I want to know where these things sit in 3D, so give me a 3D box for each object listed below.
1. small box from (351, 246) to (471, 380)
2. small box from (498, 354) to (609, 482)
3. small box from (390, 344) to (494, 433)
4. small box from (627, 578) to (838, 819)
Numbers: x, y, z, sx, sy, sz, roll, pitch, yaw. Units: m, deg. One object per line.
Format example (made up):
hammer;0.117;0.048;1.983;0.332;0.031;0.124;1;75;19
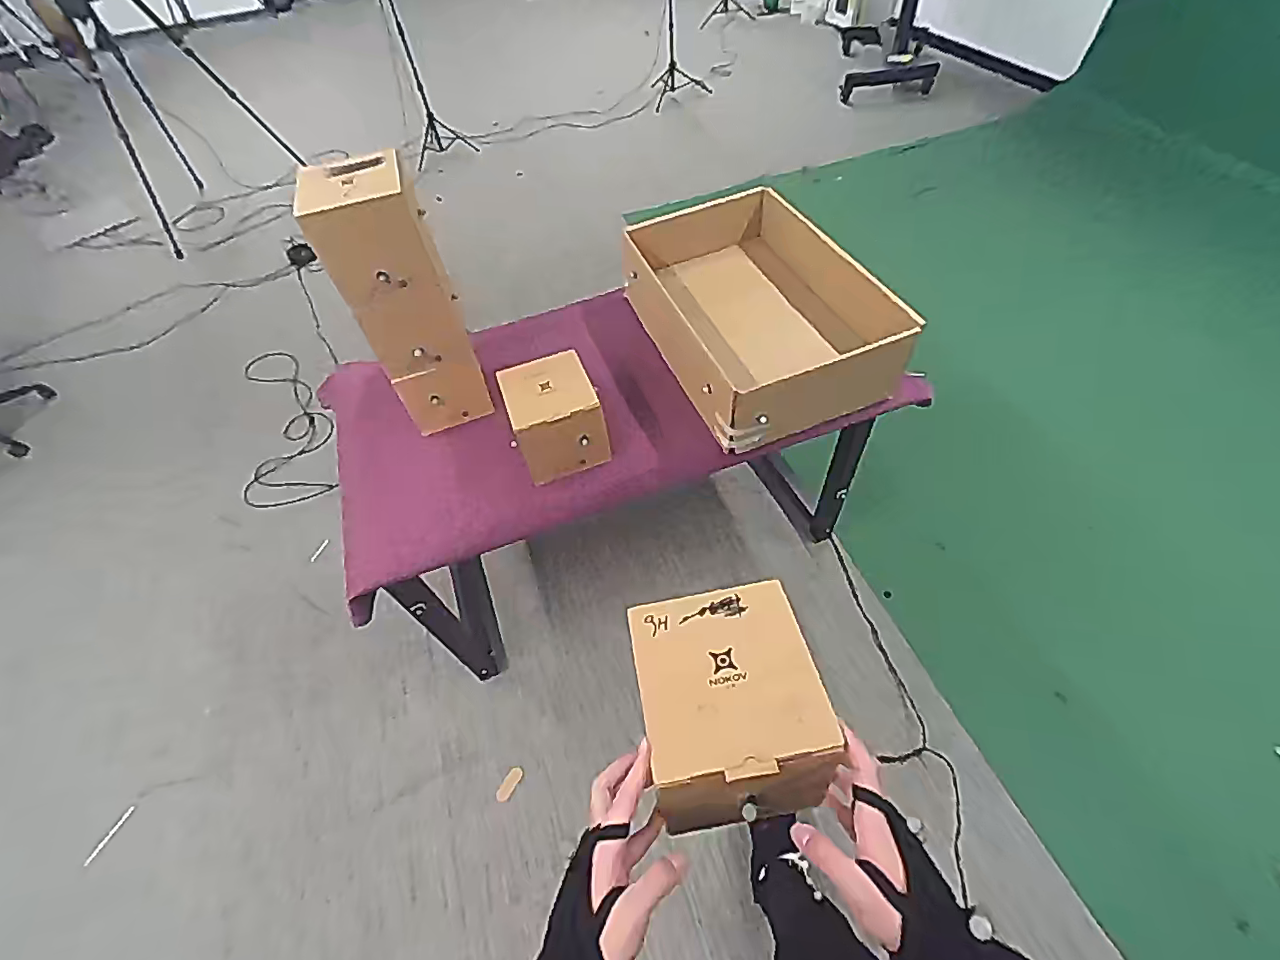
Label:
small box;-0.447;-0.328;1.069;0.168;0.176;0.179;-17;54;-7
small box;-0.169;-0.117;1.087;0.168;0.176;0.179;-19;52;-9
small box;-0.439;-0.224;1.198;0.168;0.176;0.179;-21;53;-9
small box;0.086;0.233;0.565;0.168;0.176;0.179;-10;45;-2
